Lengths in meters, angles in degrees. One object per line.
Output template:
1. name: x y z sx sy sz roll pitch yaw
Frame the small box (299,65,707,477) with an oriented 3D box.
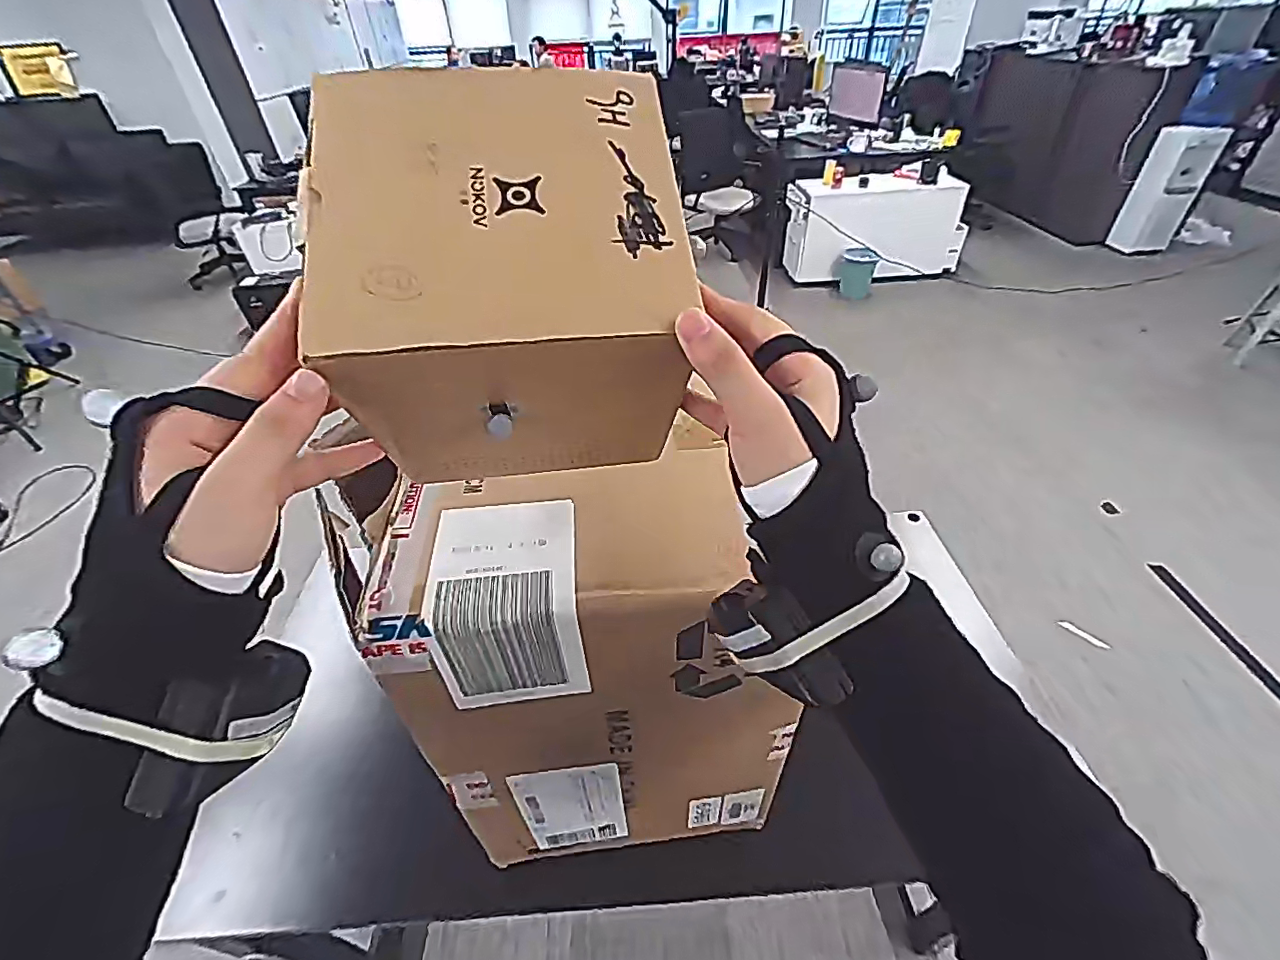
1. small box: -0.071 -0.109 0.331 0.179 0.176 0.168 -7 72 -7
